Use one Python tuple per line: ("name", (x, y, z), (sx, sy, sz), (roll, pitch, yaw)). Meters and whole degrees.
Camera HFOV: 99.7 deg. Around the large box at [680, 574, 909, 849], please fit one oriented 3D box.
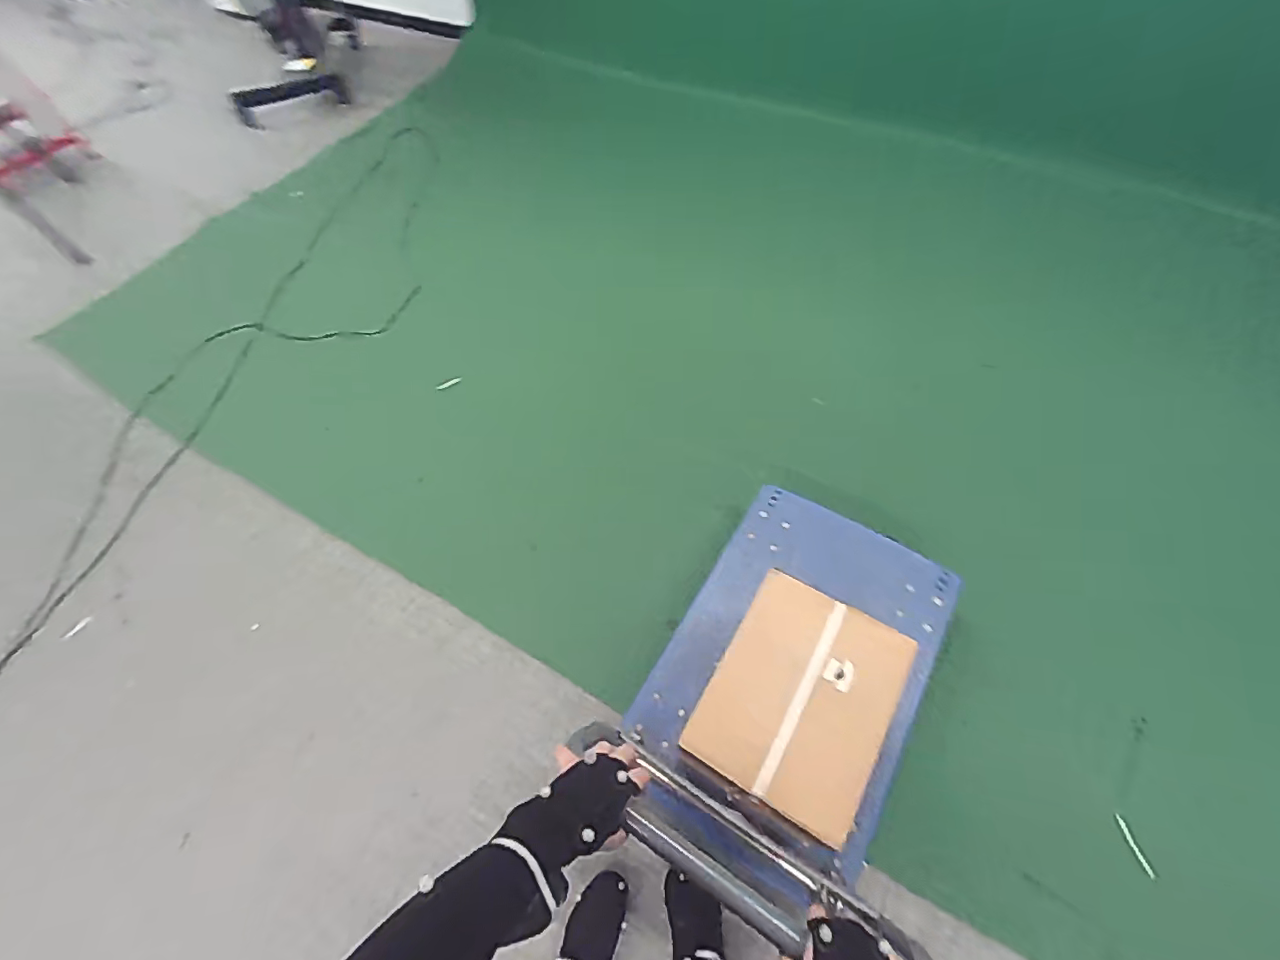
("large box", (0.311, 0.490, 1.156), (0.320, 0.320, 0.408), (27, 64, 19))
